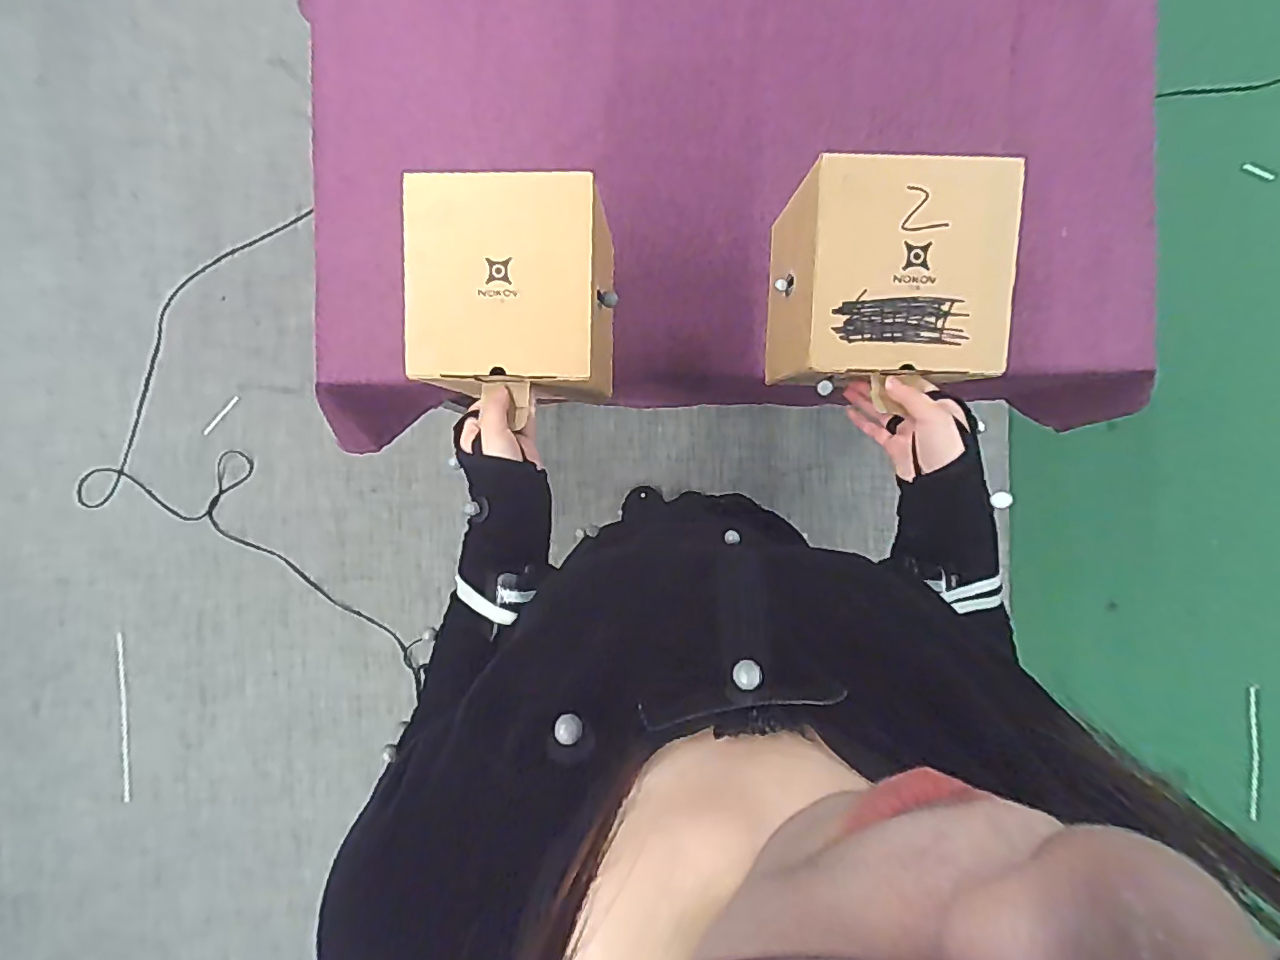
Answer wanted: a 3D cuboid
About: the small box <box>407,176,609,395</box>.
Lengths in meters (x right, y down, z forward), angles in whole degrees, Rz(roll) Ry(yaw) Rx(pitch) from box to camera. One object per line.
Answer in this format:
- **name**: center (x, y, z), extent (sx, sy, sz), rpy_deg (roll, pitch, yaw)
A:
- **small box**: center (-0.123, -0.185, 0.559), extent (0.168, 0.176, 0.179), rpy_deg (1, 95, 3)
